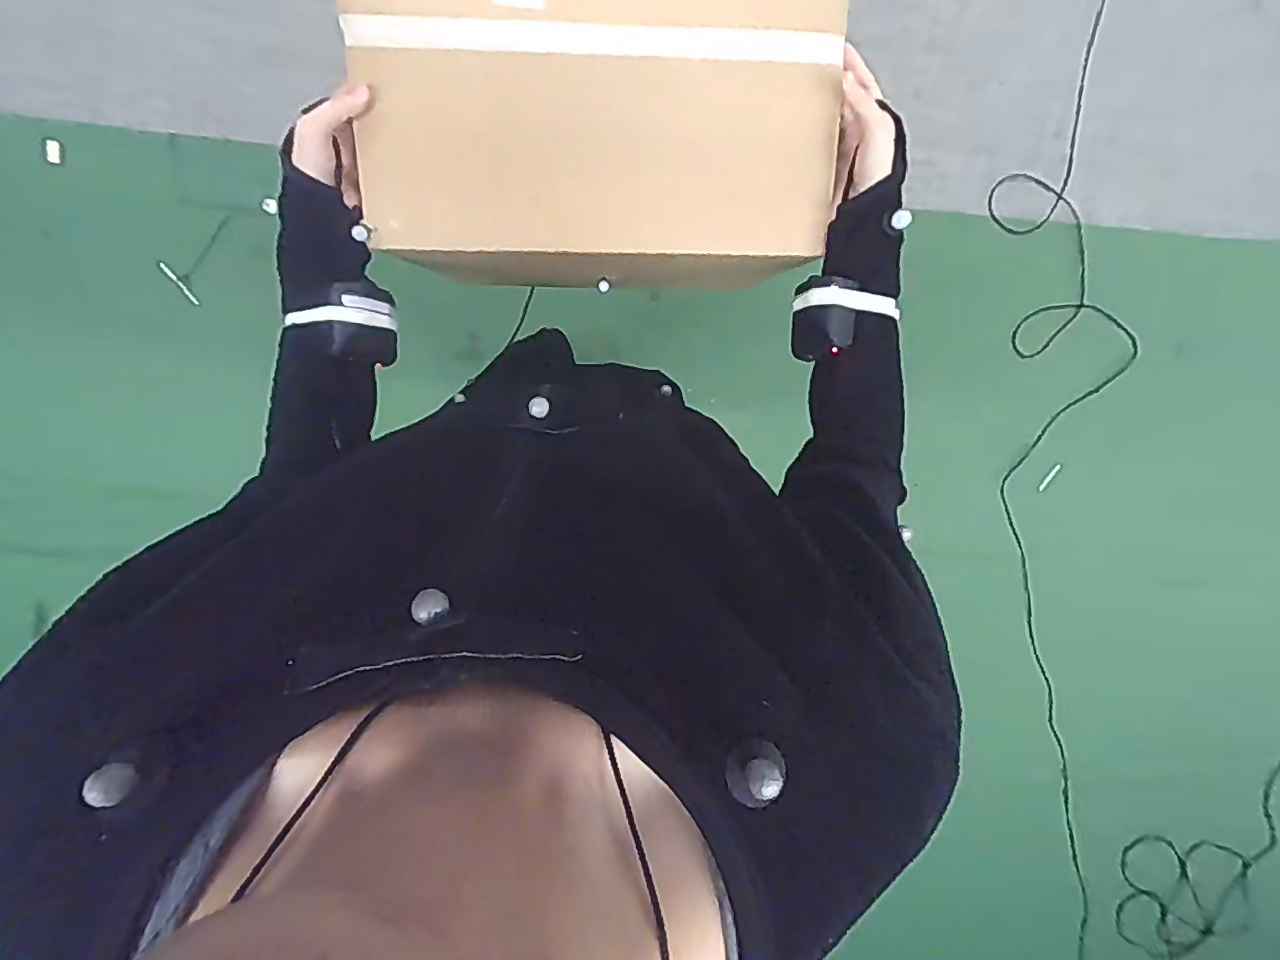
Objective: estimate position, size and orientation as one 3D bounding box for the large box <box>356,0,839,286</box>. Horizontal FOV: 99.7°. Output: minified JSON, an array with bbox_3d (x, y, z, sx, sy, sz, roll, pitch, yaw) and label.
[{"bbox_3d":[-0.038,-0.389,0.597,0.408,0.320,0.320,-1,103,-3],"label":"large box"}]
